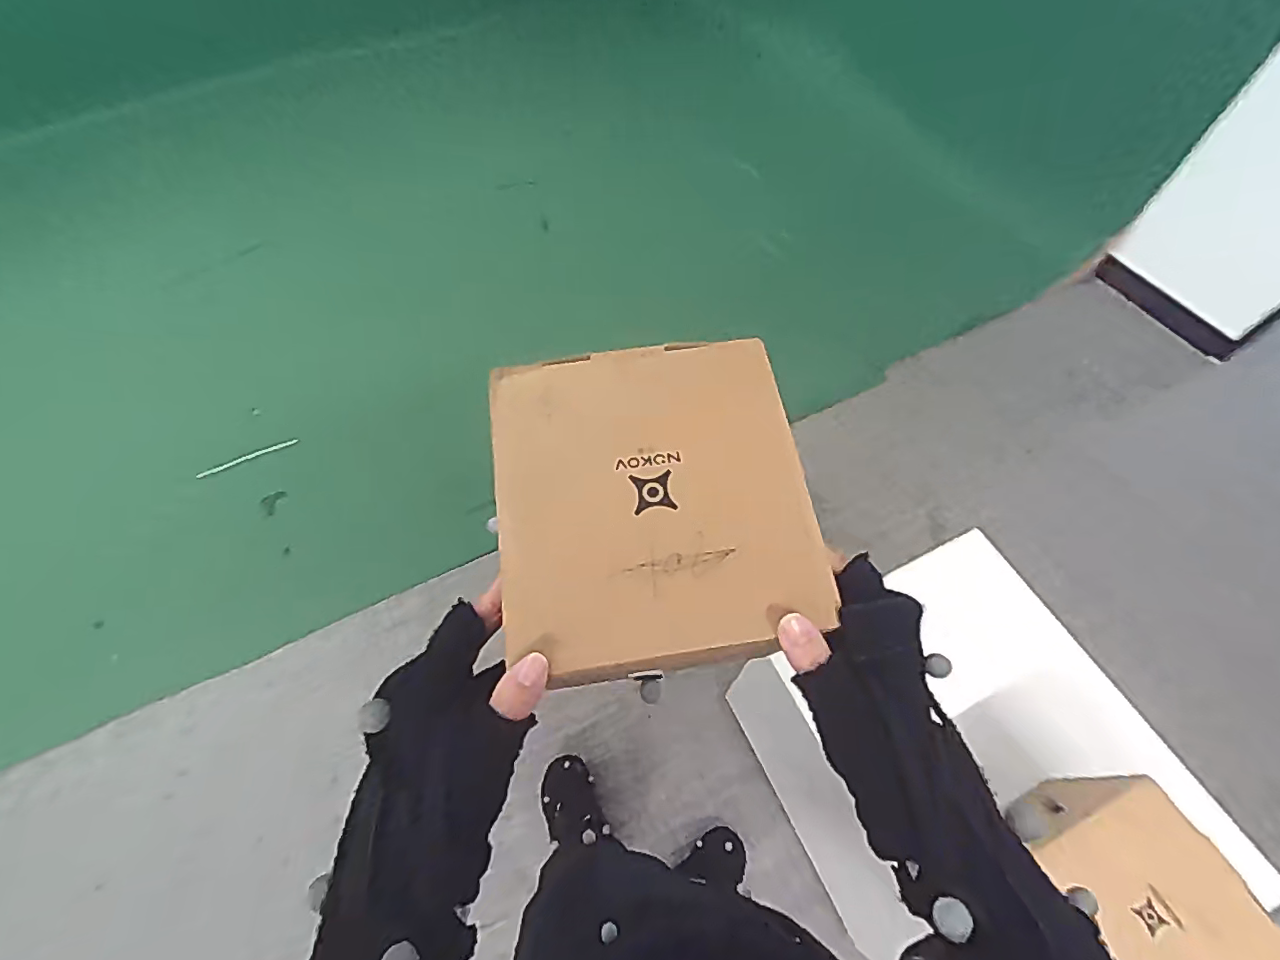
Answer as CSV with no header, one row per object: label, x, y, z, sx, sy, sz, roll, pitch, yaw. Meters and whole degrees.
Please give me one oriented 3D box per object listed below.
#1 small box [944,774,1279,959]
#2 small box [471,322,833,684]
small box,0.466,0.428,0.561,0.179,0.176,0.168,-24,62,-11
small box,-0.005,0.027,0.351,0.168,0.176,0.179,-8,68,-5
